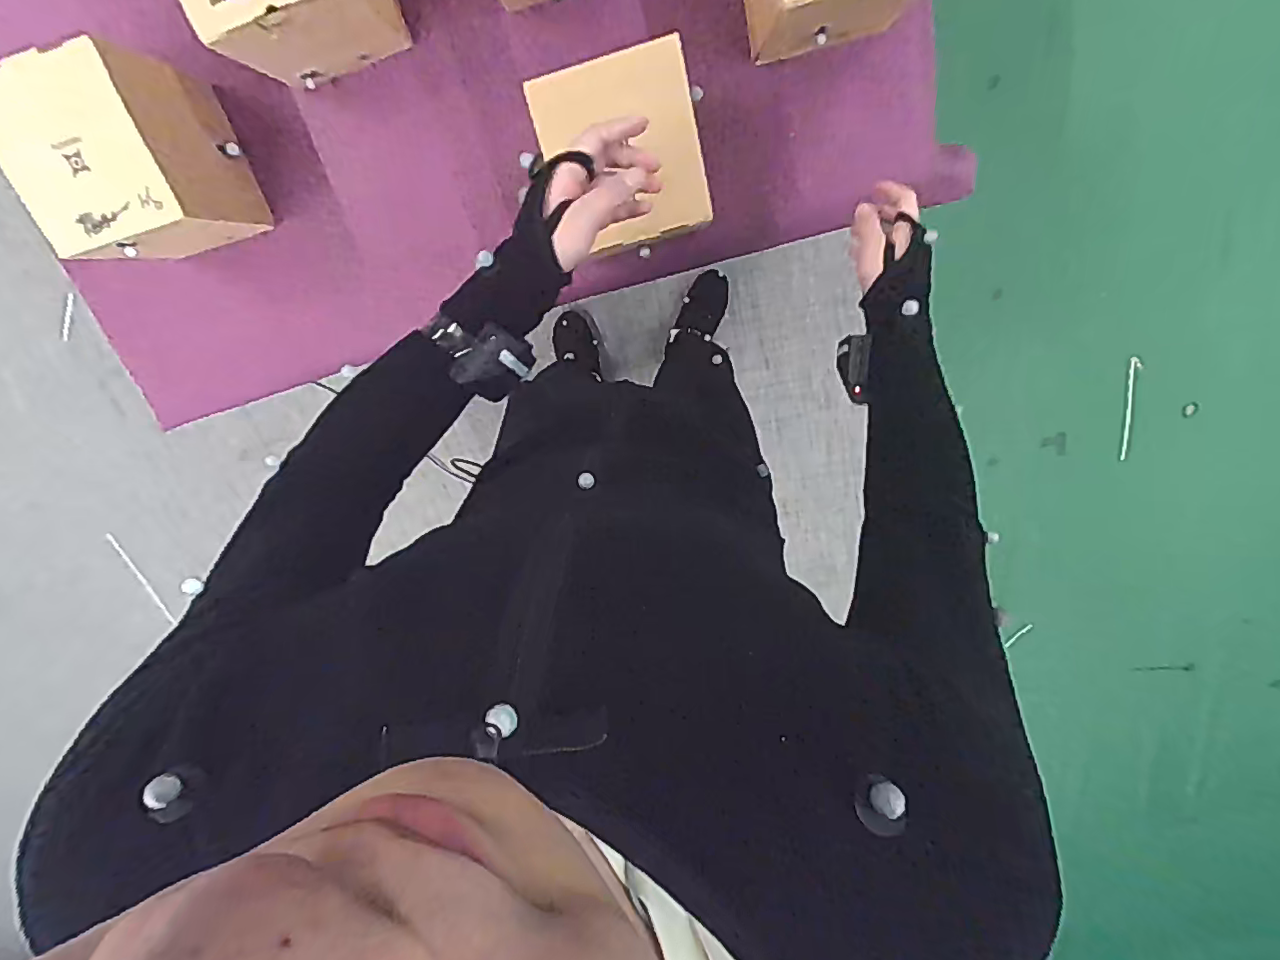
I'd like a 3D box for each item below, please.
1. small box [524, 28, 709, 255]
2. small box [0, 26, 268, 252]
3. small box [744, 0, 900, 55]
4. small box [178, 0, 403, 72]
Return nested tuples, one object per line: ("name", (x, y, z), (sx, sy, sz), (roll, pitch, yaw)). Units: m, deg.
("small box", (-0.022, -0.381, 0.645), (0.168, 0.176, 0.179), (-13, 111, 6))
("small box", (-0.604, -0.383, 0.646), (0.168, 0.176, 0.179), (-13, 111, 7))
("small box", (0.196, -0.589, 0.560), (0.168, 0.176, 0.179), (-12, 113, 6))
("small box", (-0.386, -0.568, 0.571), (0.168, 0.176, 0.179), (-15, 111, 6))
